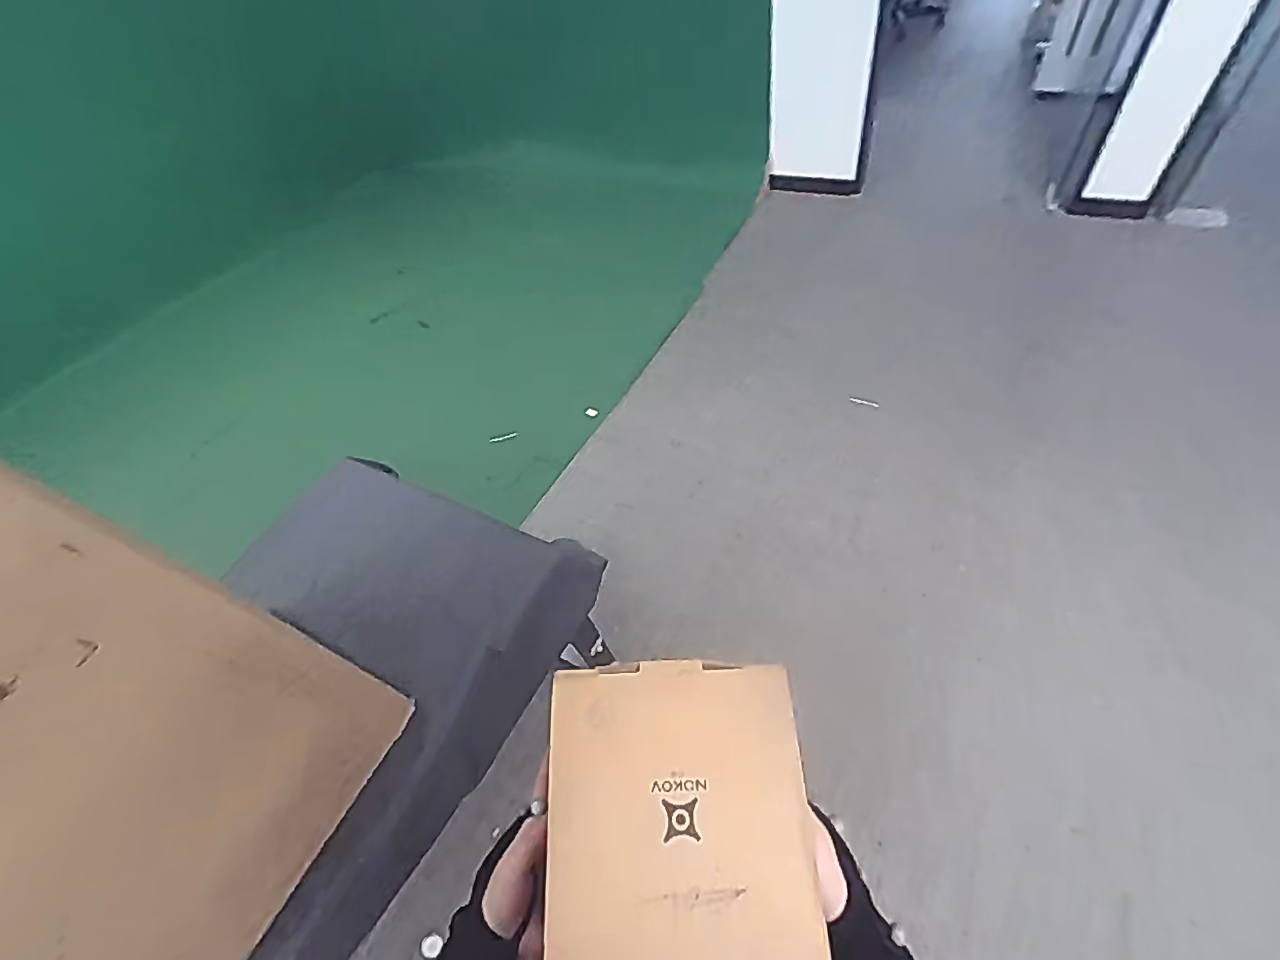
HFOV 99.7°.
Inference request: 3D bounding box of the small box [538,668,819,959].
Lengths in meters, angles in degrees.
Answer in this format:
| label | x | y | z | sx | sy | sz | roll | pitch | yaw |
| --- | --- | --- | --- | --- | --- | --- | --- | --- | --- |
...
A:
| label | x | y | z | sx | sy | sz | roll | pitch | yaw |
| --- | --- | --- | --- | --- | --- | --- | --- | --- | --- |
| small box | 0.016 | 0.246 | 0.413 | 0.168 | 0.176 | 0.179 | 1 | 65 | -4 |
